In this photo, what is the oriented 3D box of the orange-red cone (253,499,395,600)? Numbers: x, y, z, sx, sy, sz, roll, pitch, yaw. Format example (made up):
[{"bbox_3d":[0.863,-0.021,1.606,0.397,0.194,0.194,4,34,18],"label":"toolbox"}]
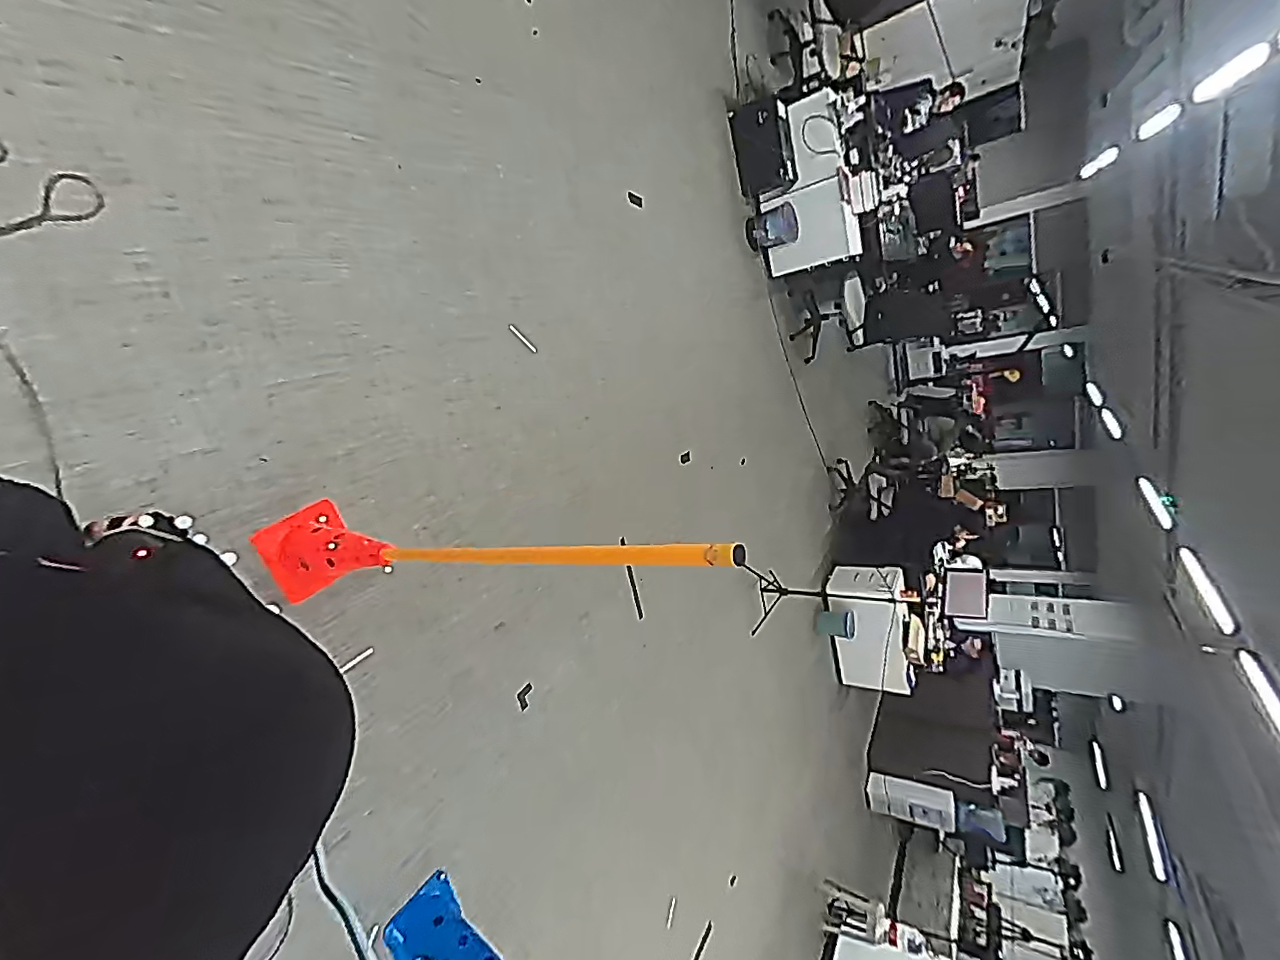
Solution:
[{"bbox_3d":[-0.668,0.159,1.221,0.199,0.360,0.198,-40,119,-48],"label":"orange-red cone"}]

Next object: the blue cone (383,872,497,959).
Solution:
[{"bbox_3d":[-0.480,1.236,1.424,0.193,0.380,0.192,-30,111,-53],"label":"blue cone"}]
